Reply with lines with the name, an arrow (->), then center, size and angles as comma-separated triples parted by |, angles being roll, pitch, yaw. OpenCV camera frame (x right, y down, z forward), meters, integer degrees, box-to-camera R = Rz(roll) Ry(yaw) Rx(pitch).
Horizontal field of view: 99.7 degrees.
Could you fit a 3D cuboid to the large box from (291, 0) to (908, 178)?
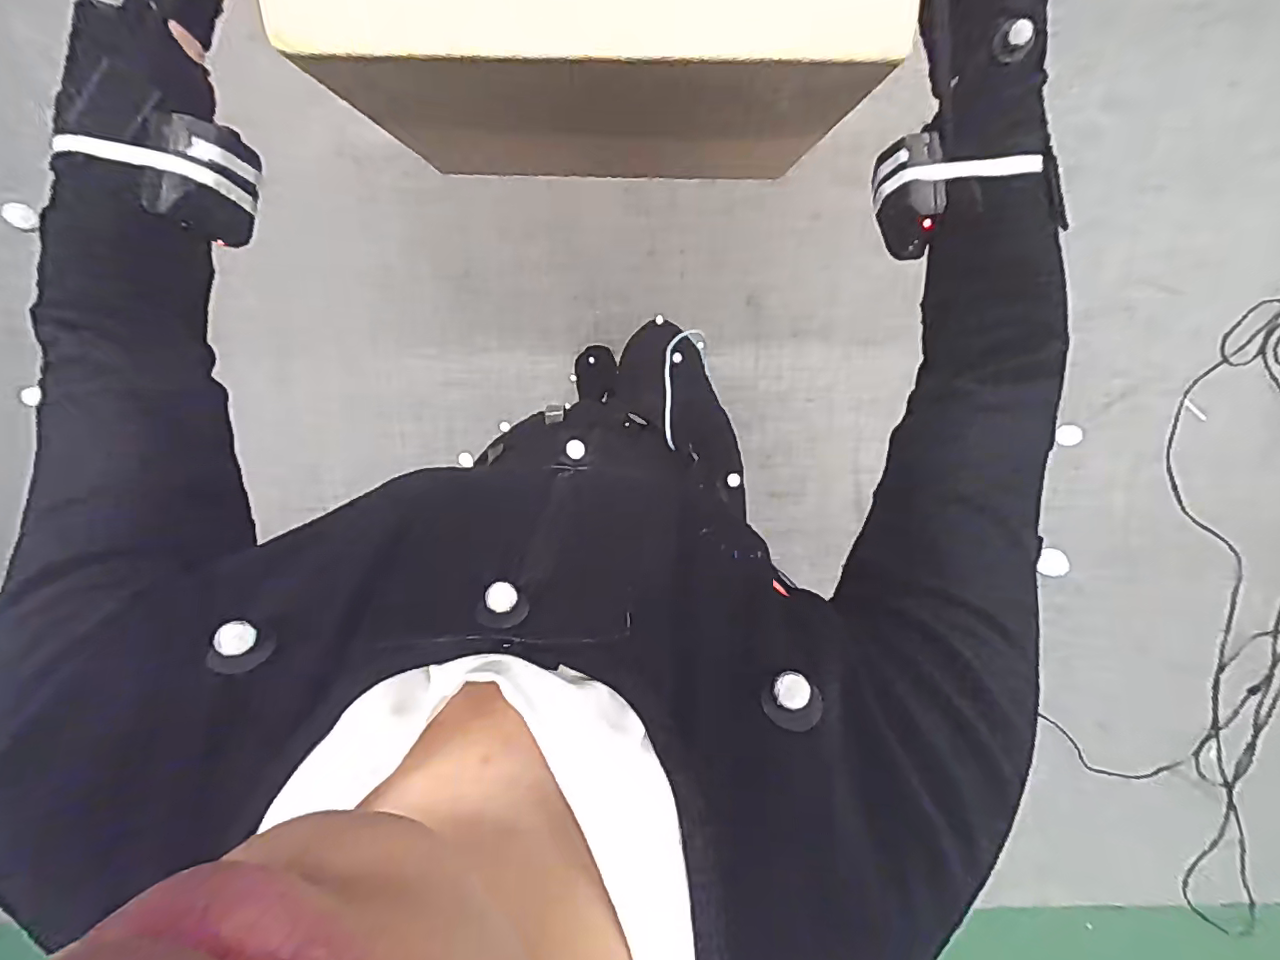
large box -> -0.030, -0.465, 0.455 | 0.408, 0.320, 0.320 | 0, 107, -1
